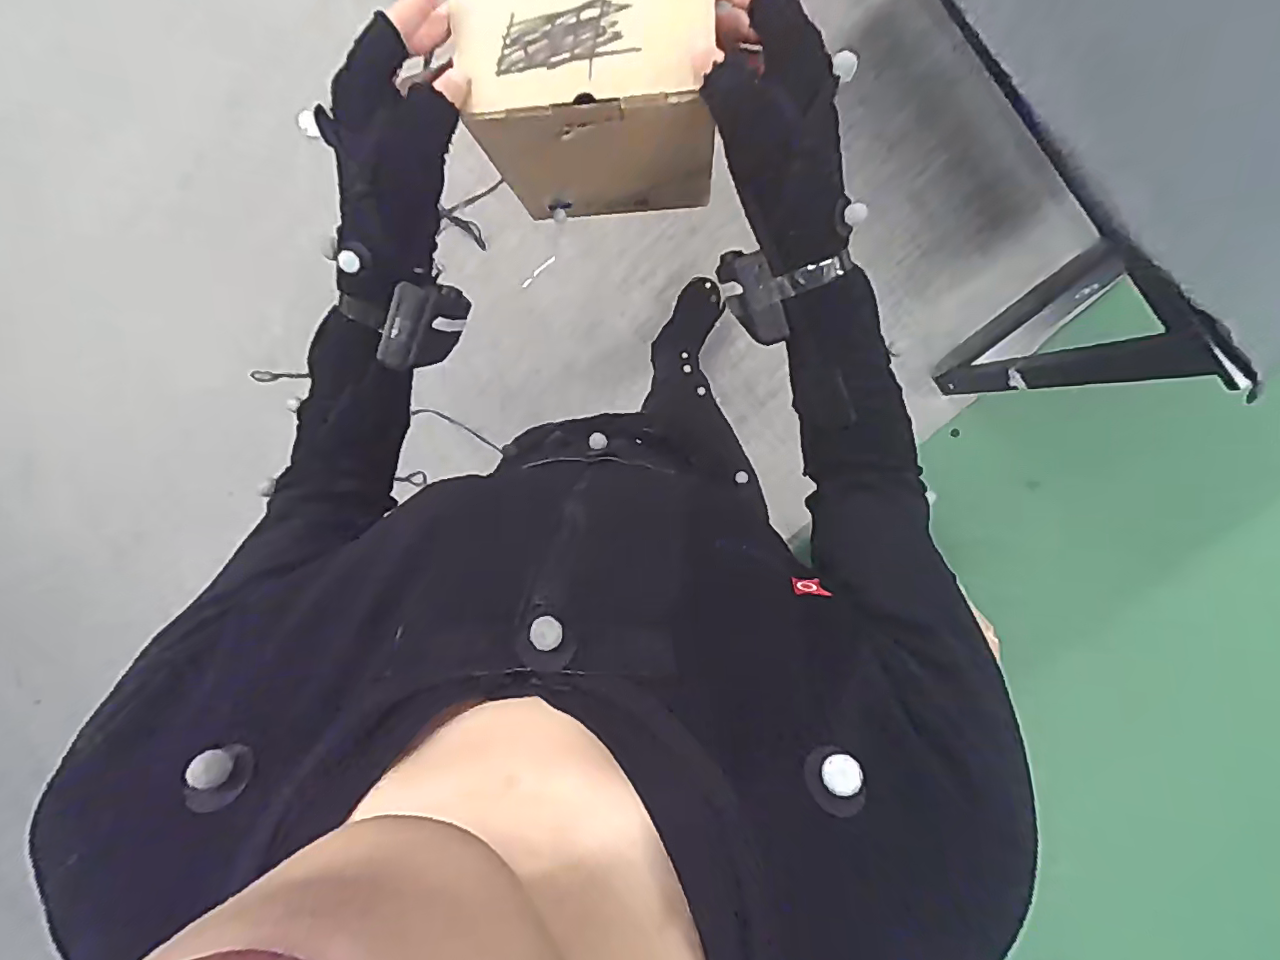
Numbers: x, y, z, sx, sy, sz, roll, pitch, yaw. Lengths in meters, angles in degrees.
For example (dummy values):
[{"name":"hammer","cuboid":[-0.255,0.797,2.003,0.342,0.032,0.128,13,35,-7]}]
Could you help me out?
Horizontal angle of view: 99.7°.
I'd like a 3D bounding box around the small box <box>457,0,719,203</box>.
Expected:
[{"name":"small box","cuboid":[-0.027,-0.329,0.408,0.168,0.176,0.179,-2,94,5]}]
